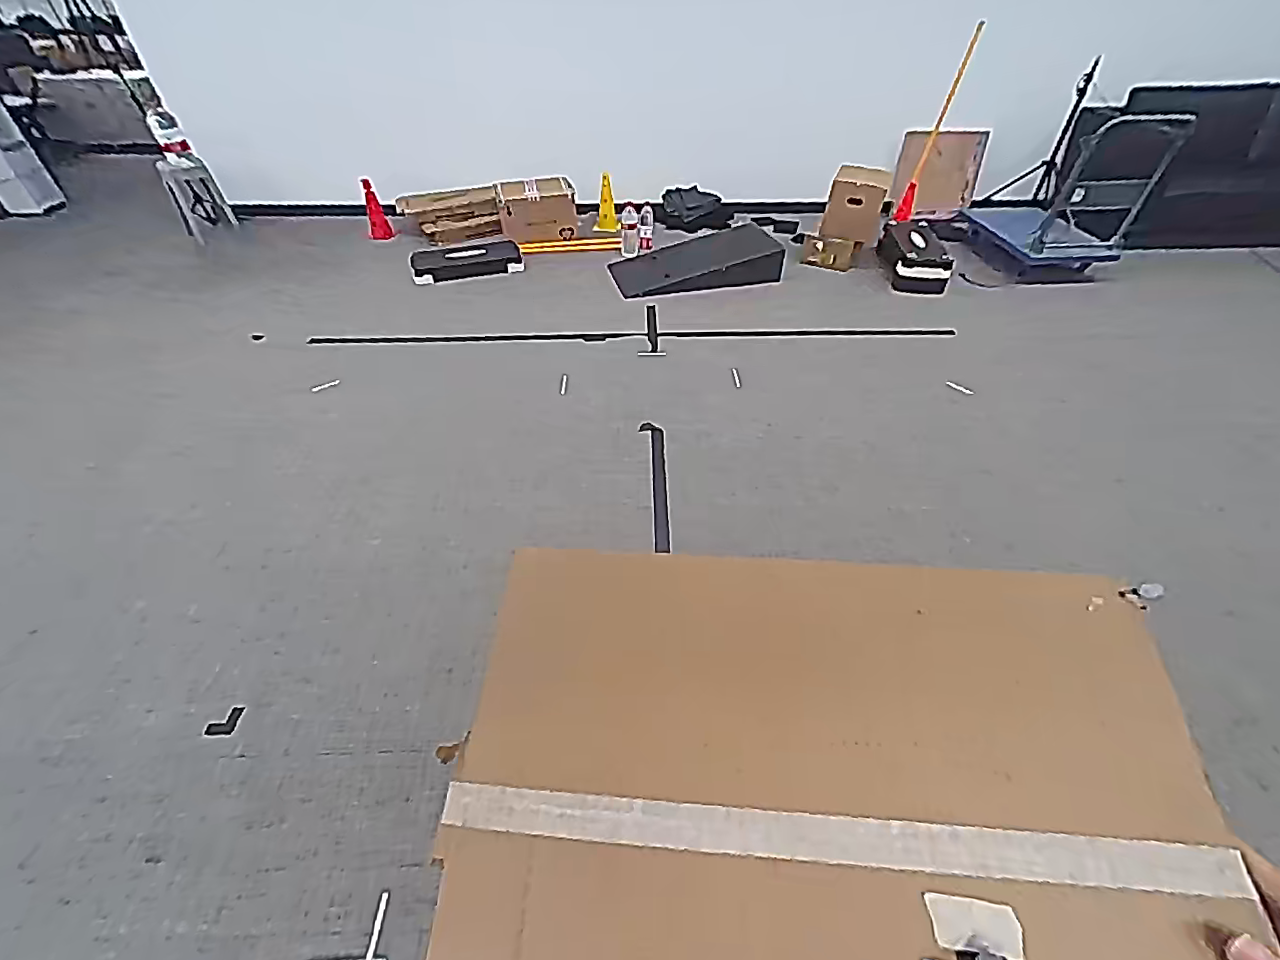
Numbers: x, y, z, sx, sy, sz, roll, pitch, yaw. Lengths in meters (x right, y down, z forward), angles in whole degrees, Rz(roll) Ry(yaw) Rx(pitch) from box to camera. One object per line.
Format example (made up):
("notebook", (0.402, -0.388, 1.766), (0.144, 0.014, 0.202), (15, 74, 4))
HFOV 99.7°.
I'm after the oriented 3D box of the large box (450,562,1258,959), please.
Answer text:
("large box", (0.109, 0.271, 0.424), (0.408, 0.320, 0.320), (2, 60, 4))
